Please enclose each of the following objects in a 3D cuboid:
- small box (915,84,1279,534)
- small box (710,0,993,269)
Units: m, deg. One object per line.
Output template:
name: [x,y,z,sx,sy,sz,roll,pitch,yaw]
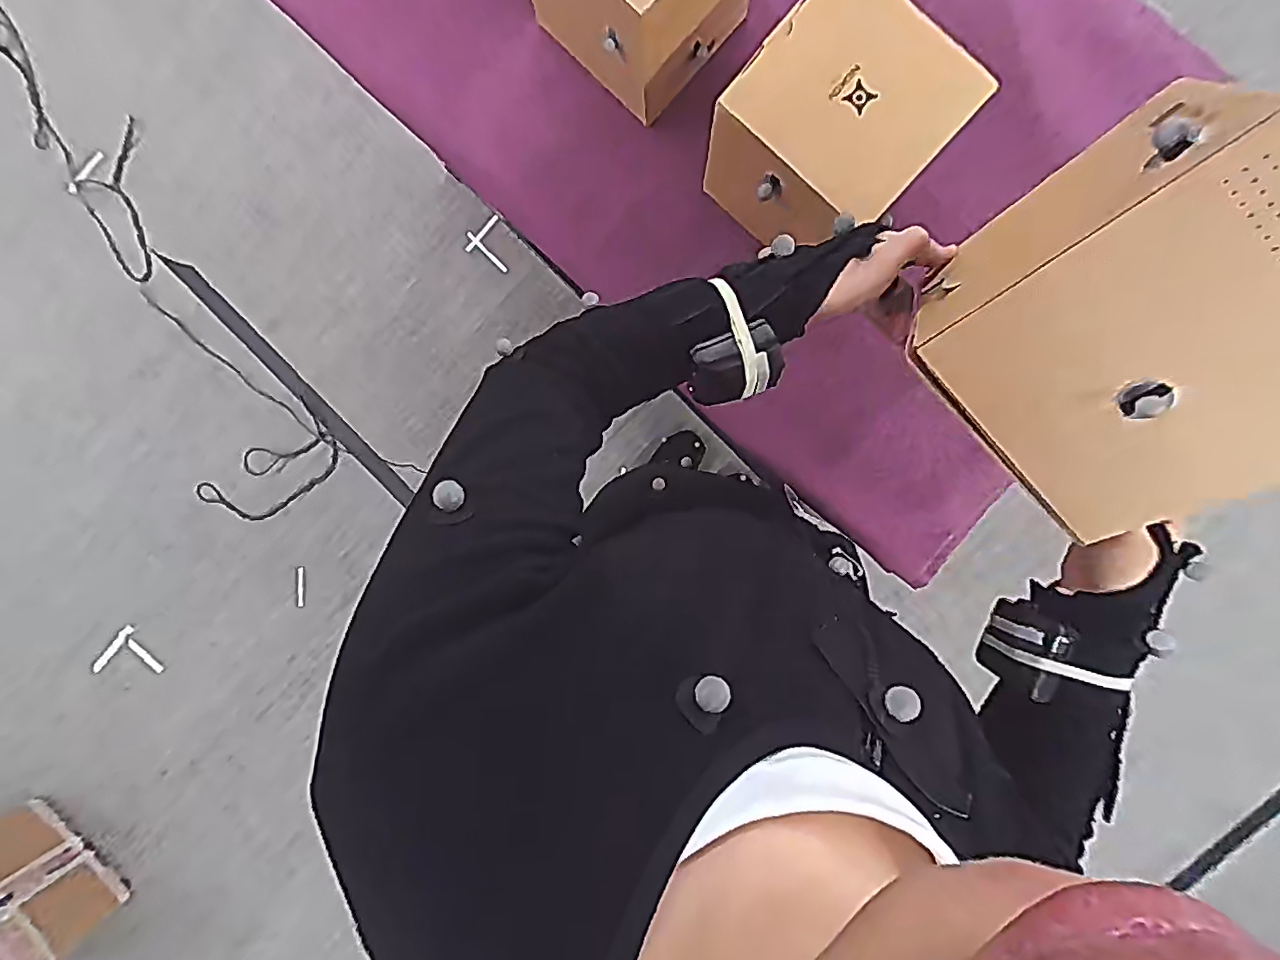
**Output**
small box: [0.305,-0.105,0.337,0.179,0.168,0.176,44,134,-7]
small box: [0.189,-0.340,0.544,0.179,0.176,0.168,43,95,0]
